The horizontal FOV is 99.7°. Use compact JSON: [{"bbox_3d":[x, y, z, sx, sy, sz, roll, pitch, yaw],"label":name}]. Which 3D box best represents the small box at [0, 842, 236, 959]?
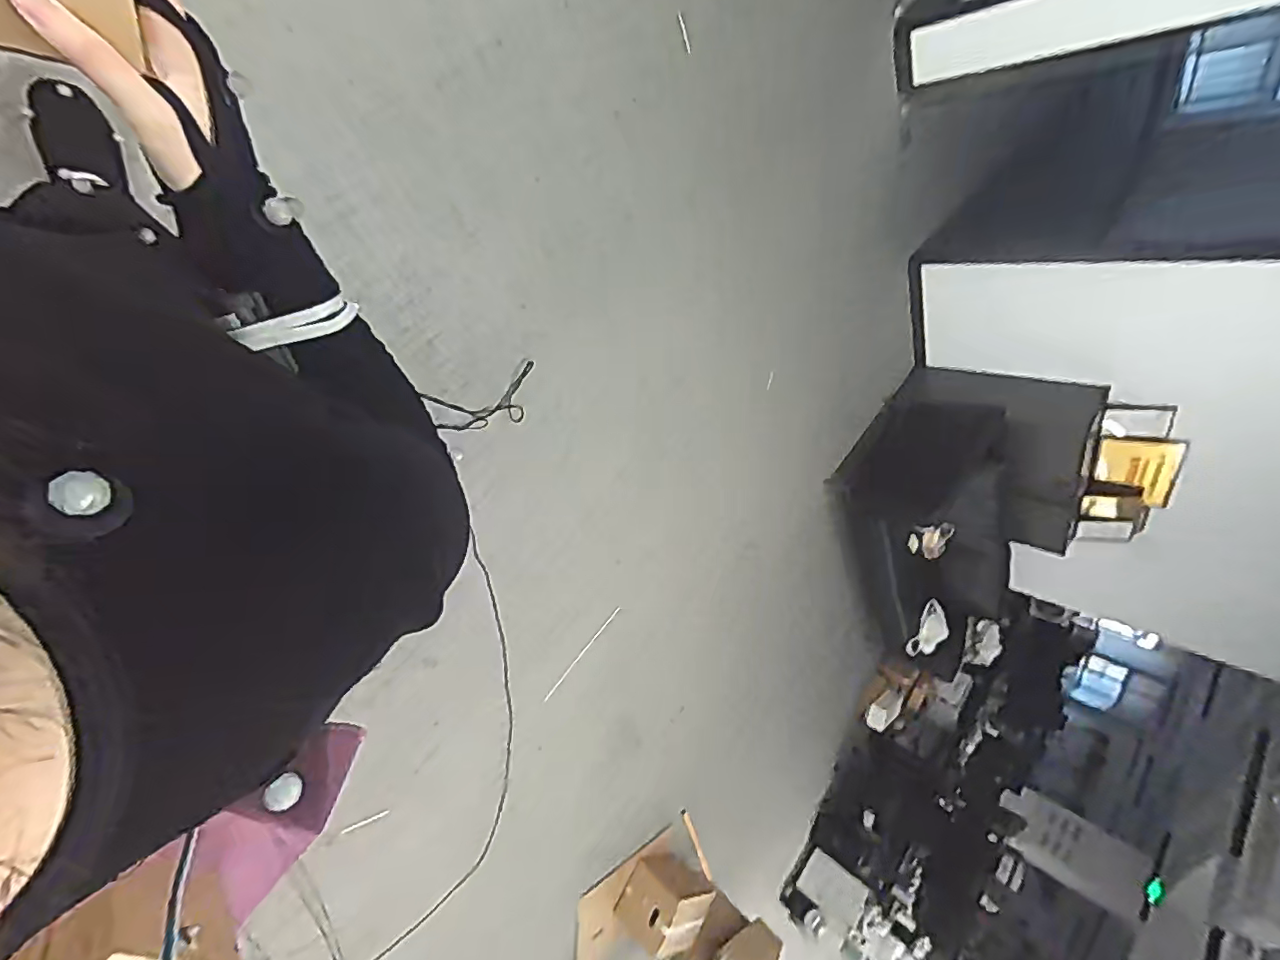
[{"bbox_3d":[-0.621,0.575,0.638,0.168,0.176,0.179,-45,131,-24],"label":"small box"}]

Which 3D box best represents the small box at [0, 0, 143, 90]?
[{"bbox_3d":[-0.305,-0.304,0.197,0.168,0.176,0.179,-7,155,-36],"label":"small box"}]
